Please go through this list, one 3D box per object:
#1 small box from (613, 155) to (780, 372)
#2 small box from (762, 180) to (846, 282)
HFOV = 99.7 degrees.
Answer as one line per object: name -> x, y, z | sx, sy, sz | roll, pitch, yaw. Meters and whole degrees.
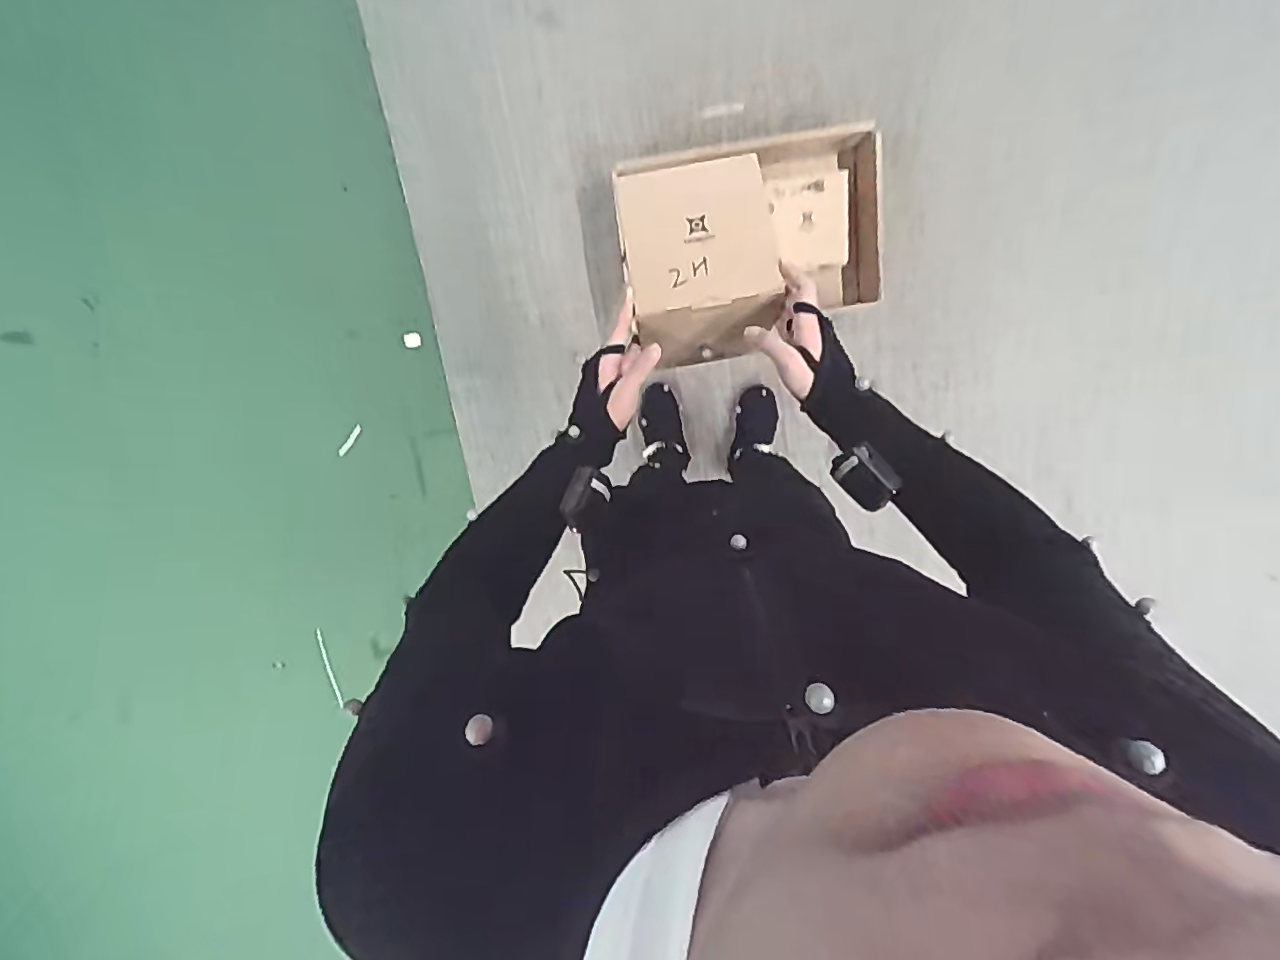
small box -> 0.064, -0.255, 0.671 | 0.168, 0.176, 0.179 | -9, 80, 3
small box -> 0.342, -0.531, 1.180 | 0.168, 0.176, 0.179 | -4, 105, 6
